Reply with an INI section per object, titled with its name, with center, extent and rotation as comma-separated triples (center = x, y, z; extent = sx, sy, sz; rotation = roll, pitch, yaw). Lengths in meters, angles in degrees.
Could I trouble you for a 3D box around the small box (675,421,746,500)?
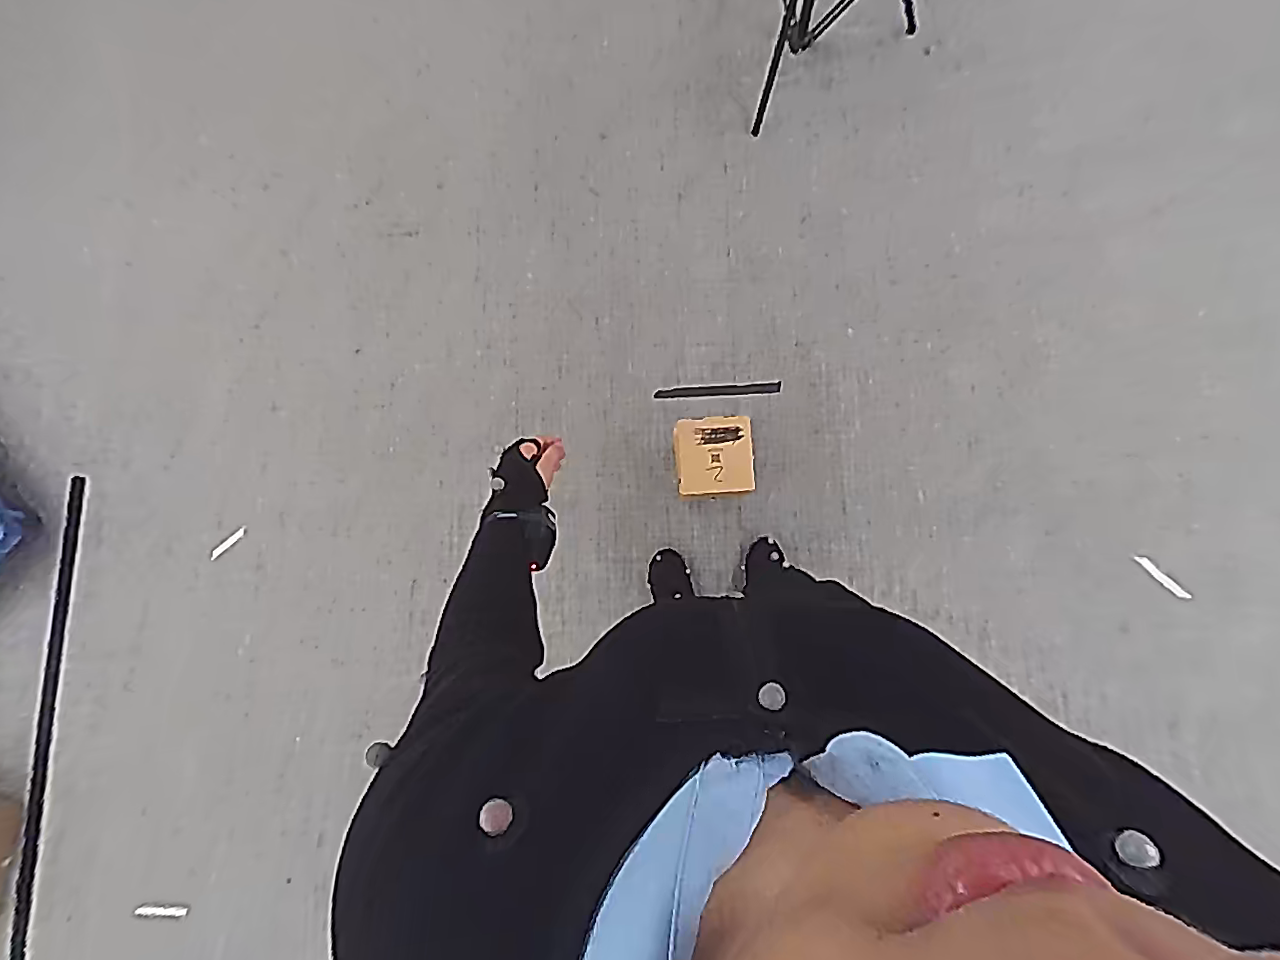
[small box]
center = 0.185, -0.047, 1.456
extent = 0.168, 0.176, 0.179
rotation = -7, 82, 4
